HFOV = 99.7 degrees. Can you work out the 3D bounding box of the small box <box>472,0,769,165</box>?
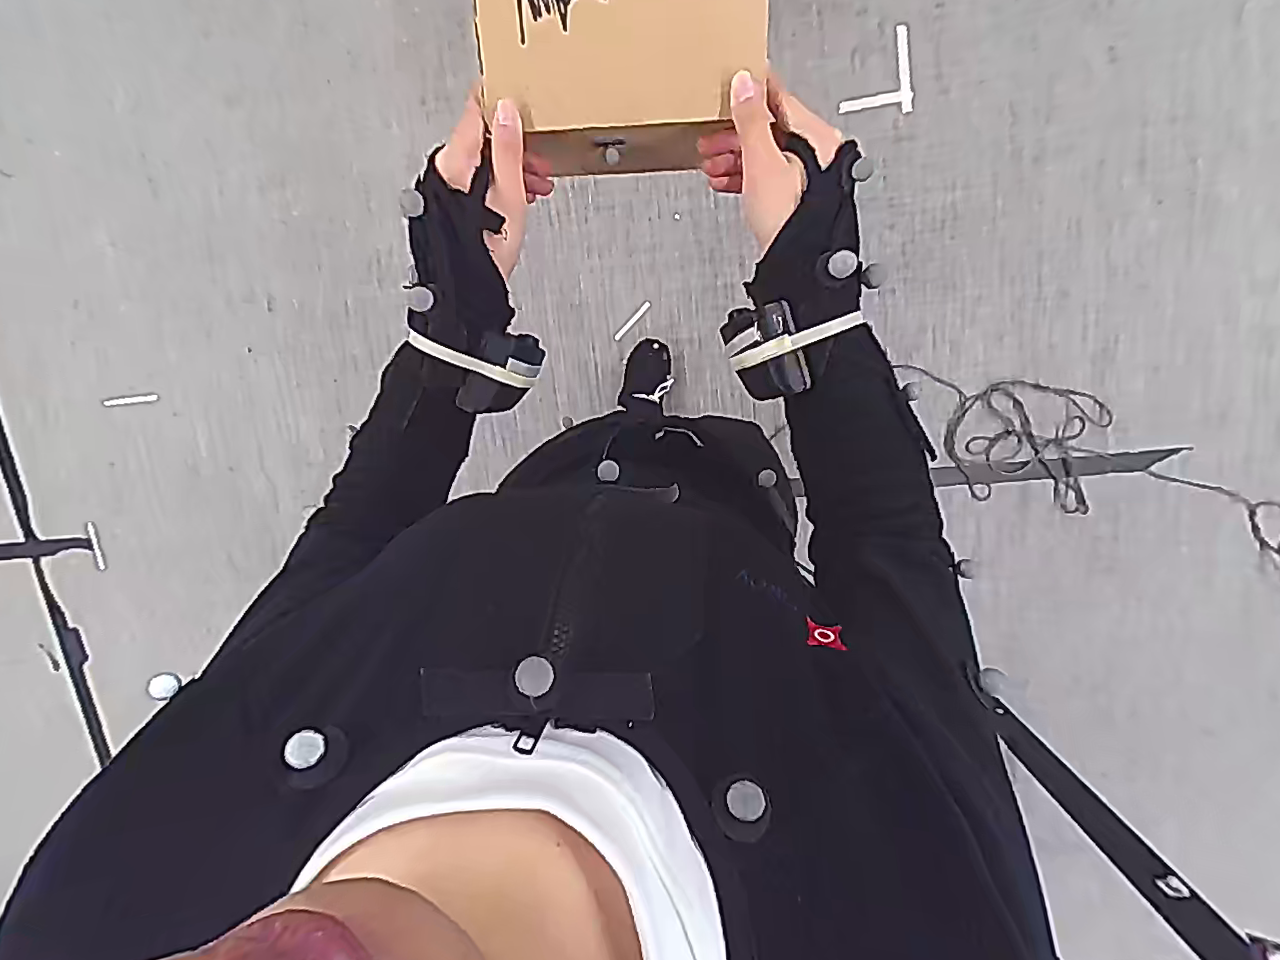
[{"bbox_3d":[-0.010,-0.331,0.379,0.179,0.176,0.168,-2,111,2],"label":"small box"}]
